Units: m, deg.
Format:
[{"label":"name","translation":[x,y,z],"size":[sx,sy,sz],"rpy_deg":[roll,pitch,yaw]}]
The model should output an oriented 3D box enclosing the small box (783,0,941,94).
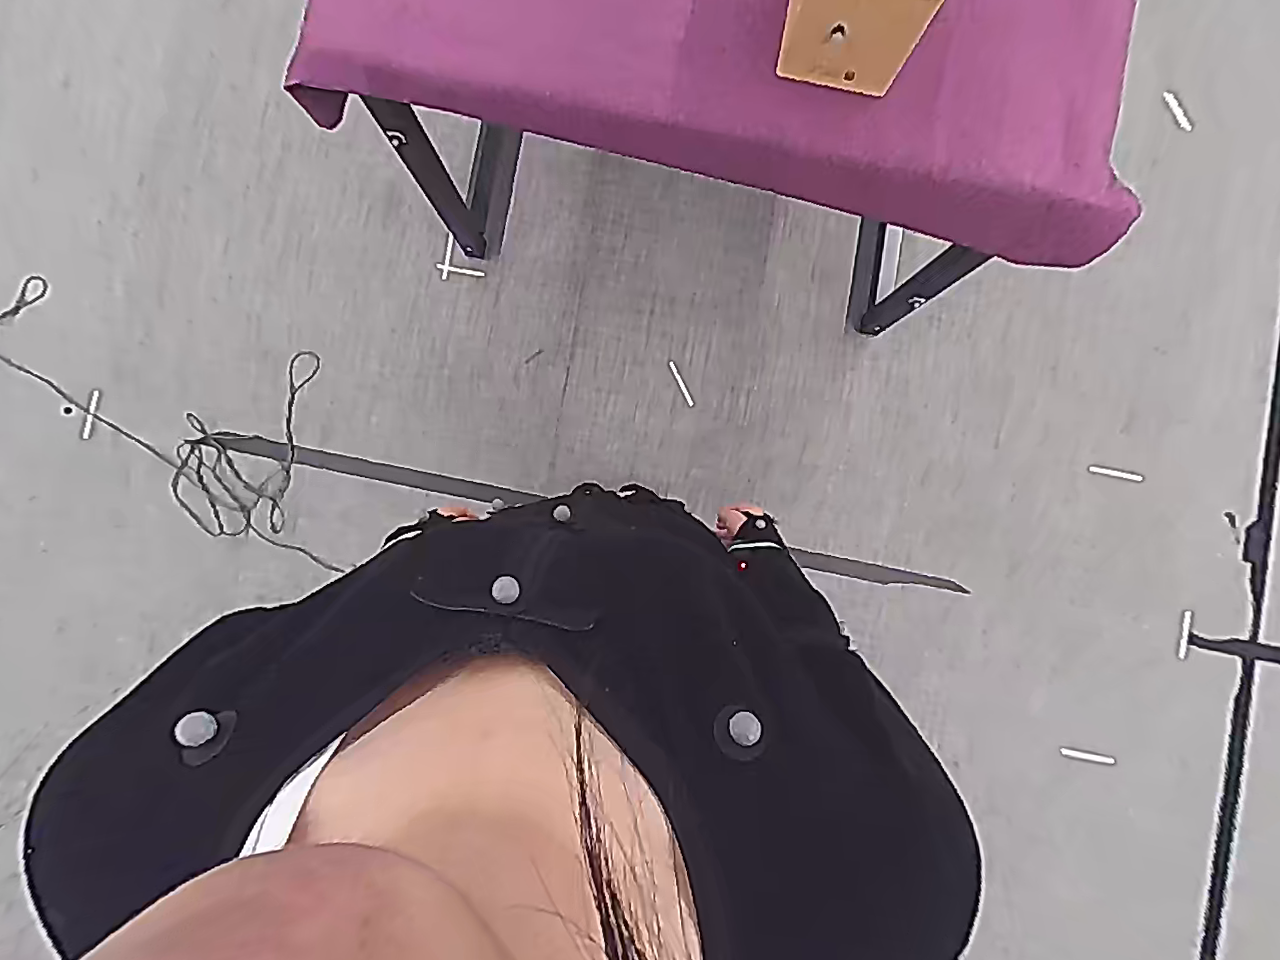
[{"label":"small box","translation":[0.304,-0.676,0.736],"size":[0.168,0.176,0.179],"rpy_deg":[11,87,-1]}]
